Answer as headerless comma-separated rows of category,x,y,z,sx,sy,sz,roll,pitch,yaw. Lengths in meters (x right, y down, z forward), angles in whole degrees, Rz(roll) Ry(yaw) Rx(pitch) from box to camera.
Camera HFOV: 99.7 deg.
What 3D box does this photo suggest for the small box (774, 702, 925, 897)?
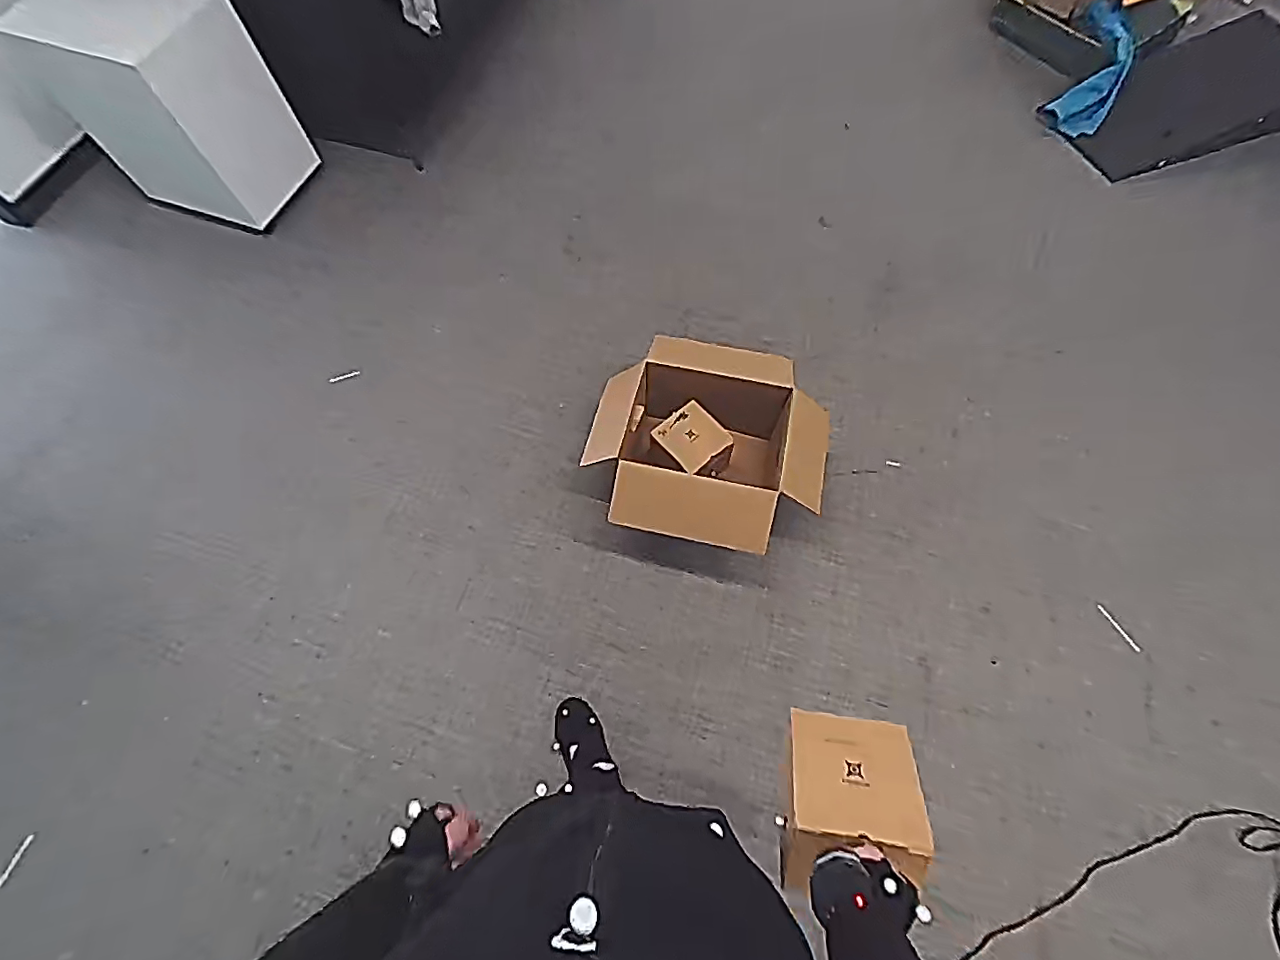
small box,0.286,0.455,0.778,0.168,0.176,0.179,4,31,10
